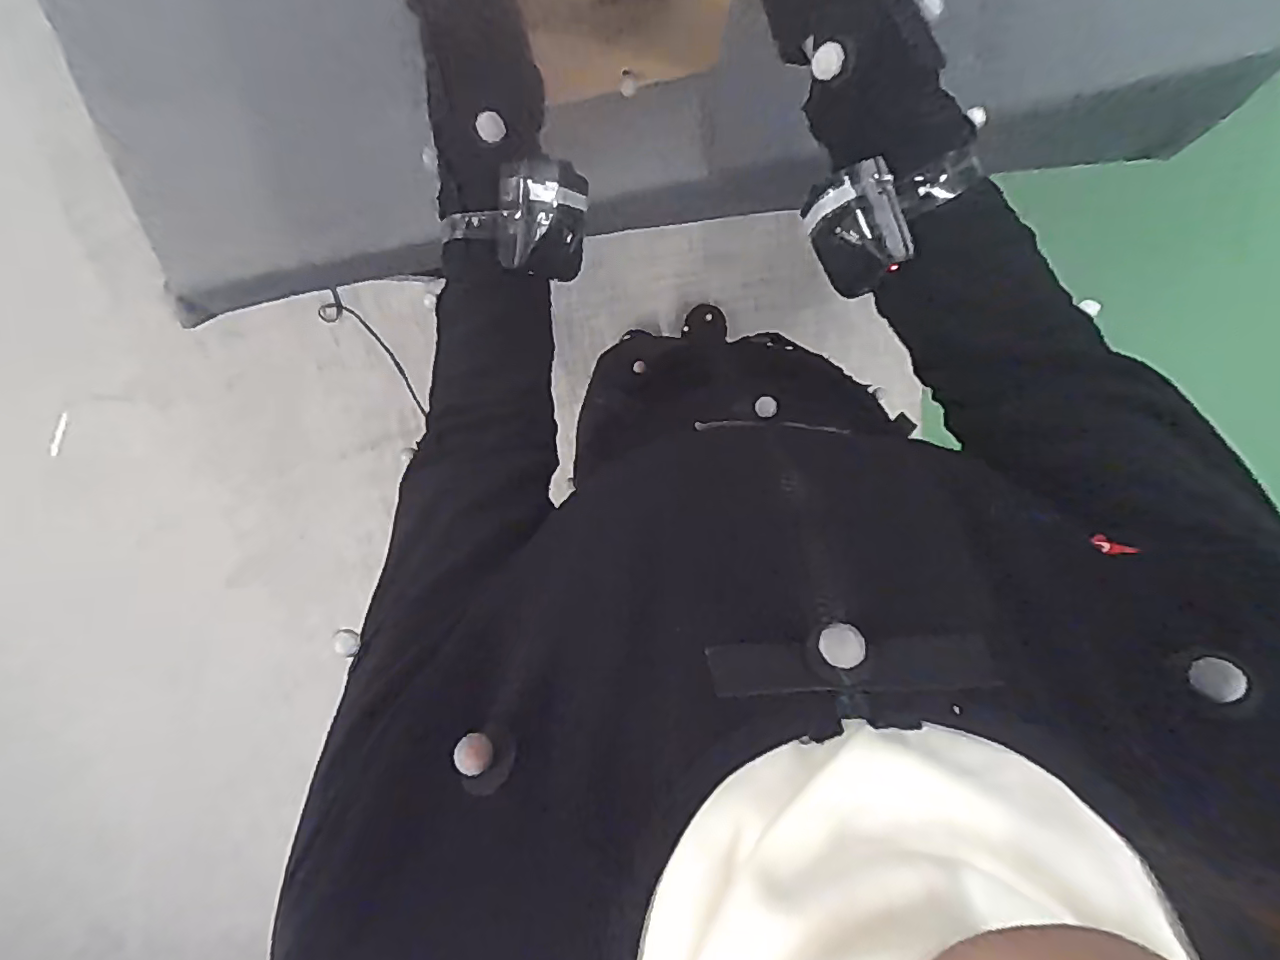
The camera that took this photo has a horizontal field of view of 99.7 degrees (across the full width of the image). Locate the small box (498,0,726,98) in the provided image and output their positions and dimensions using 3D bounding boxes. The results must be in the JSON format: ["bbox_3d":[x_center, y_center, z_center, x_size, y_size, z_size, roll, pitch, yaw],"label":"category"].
[{"bbox_3d":[-0.032,-0.453,0.451,0.179,0.176,0.168,-10,109,4],"label":"small box"}]
